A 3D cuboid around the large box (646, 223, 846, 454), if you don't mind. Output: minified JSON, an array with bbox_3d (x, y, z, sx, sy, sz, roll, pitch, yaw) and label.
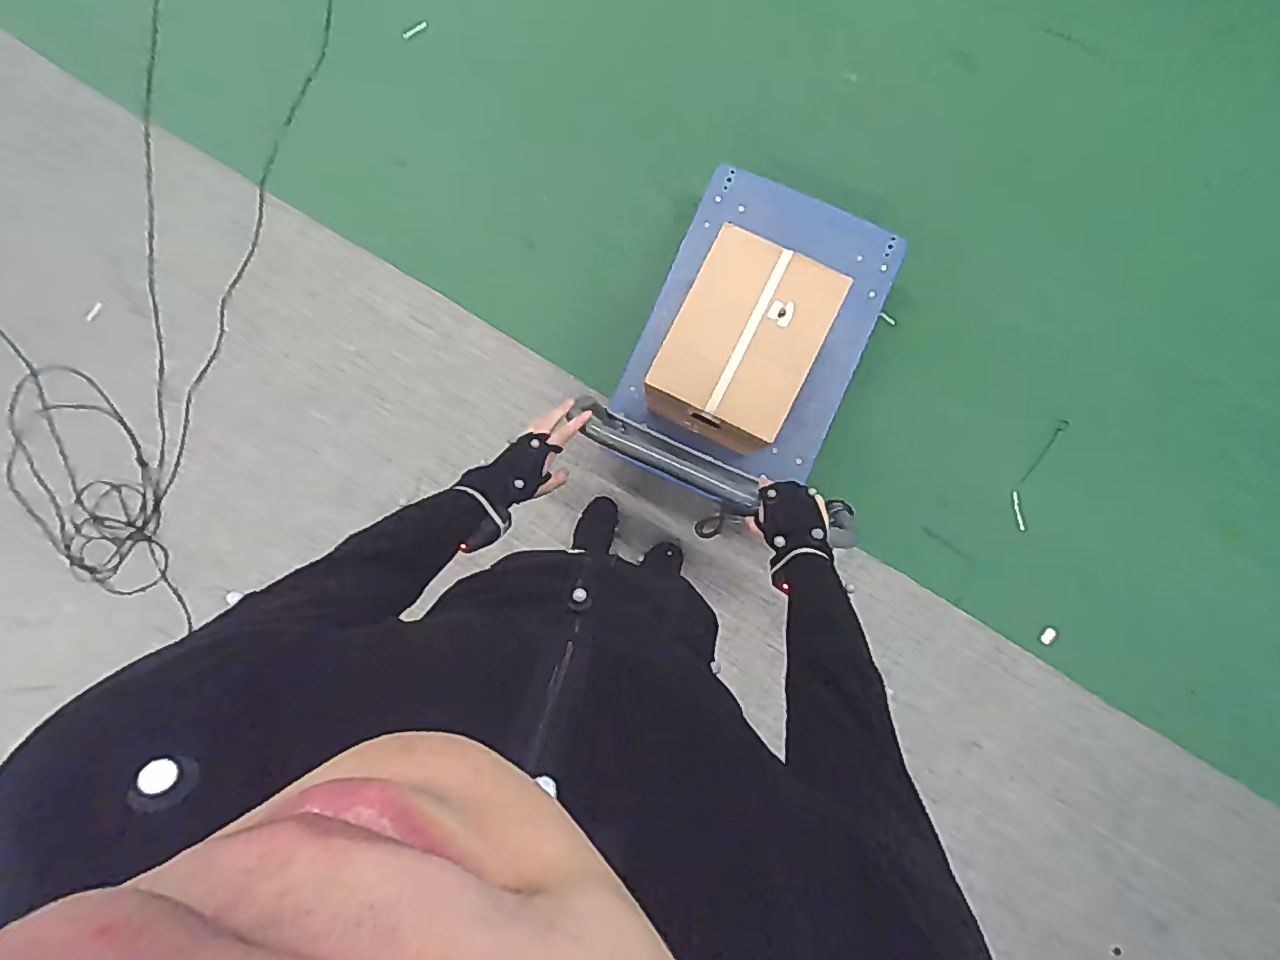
[{"bbox_3d":[0.237,-0.318,1.329,0.320,0.320,0.408,27,88,3],"label":"large box"}]
